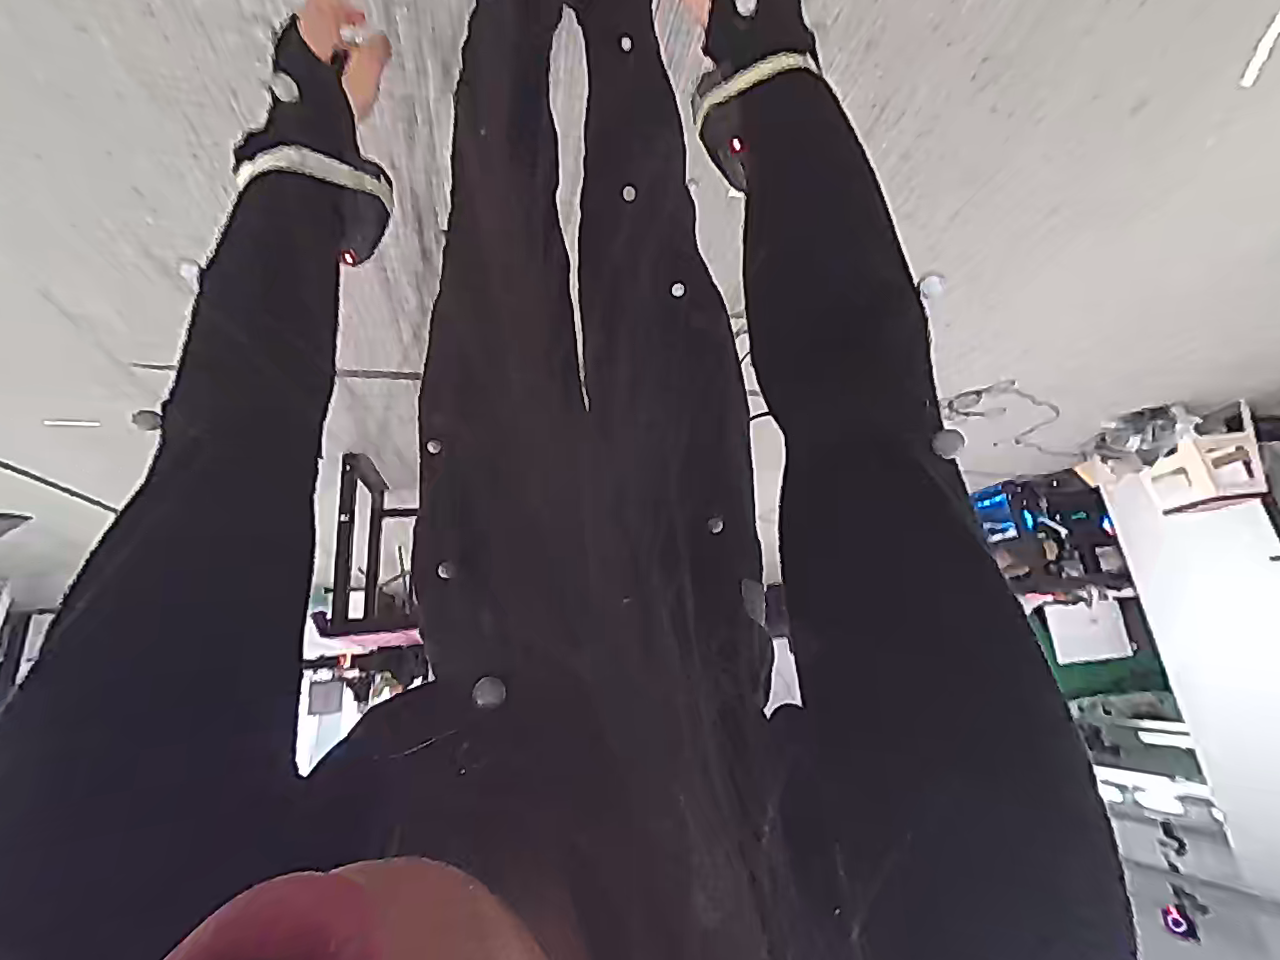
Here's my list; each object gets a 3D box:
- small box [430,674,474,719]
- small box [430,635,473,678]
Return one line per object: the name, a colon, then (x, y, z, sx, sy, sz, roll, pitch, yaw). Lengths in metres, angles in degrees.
small box: (-0.842, 0.963, 2.414, 0.179, 0.176, 0.168, 0, 159, -20)
small box: (-0.858, 0.808, 2.465, 0.179, 0.176, 0.168, 0, 160, -19)
